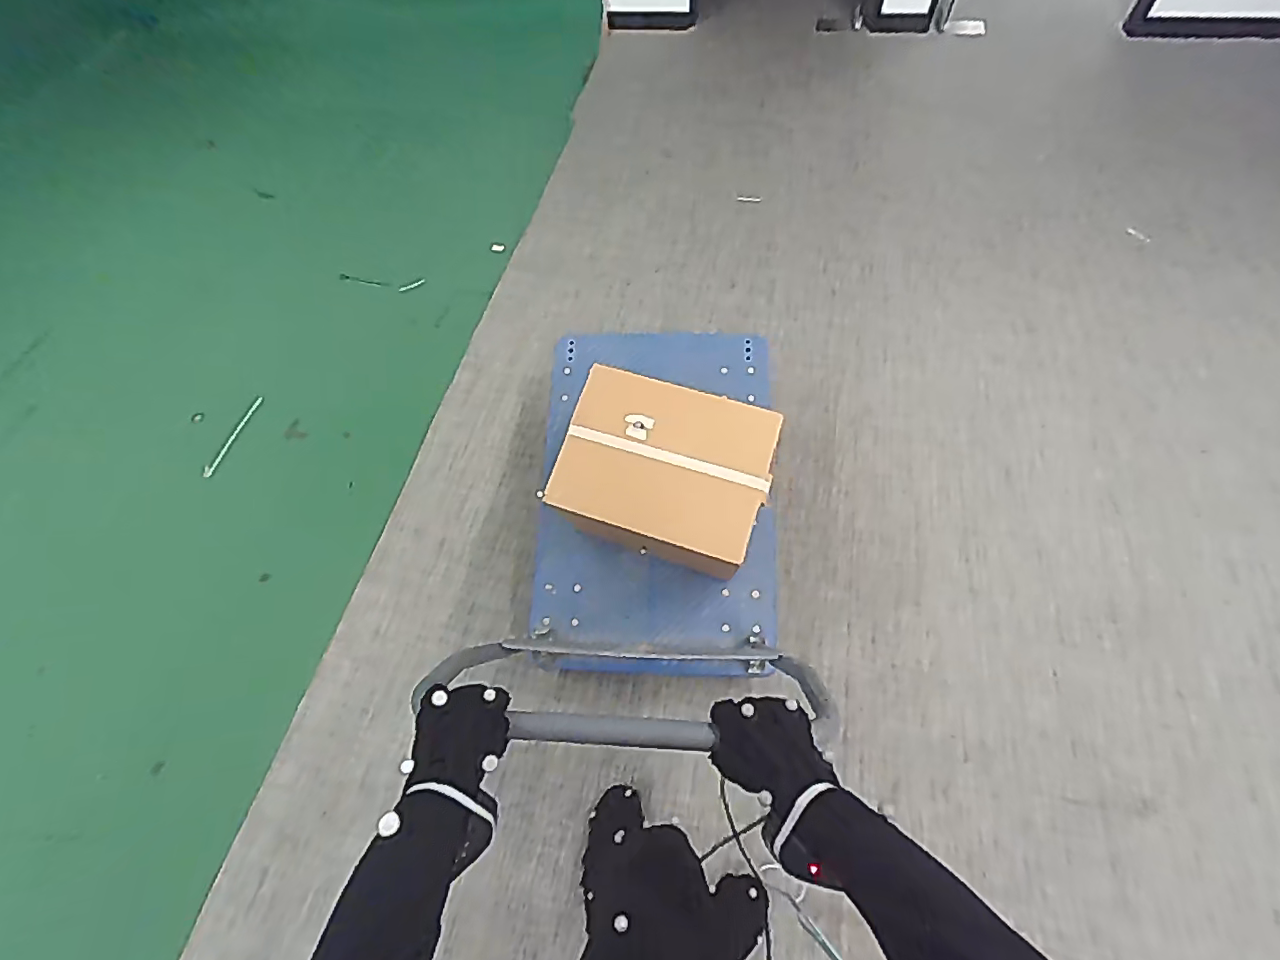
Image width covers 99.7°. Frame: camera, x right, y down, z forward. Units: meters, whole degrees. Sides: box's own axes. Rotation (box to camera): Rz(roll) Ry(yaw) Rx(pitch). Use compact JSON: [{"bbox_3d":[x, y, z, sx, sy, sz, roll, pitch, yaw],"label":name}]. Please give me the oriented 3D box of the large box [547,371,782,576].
[{"bbox_3d":[0.066,0.002,1.197,0.408,0.320,0.320,16,76,11],"label":"large box"}]
